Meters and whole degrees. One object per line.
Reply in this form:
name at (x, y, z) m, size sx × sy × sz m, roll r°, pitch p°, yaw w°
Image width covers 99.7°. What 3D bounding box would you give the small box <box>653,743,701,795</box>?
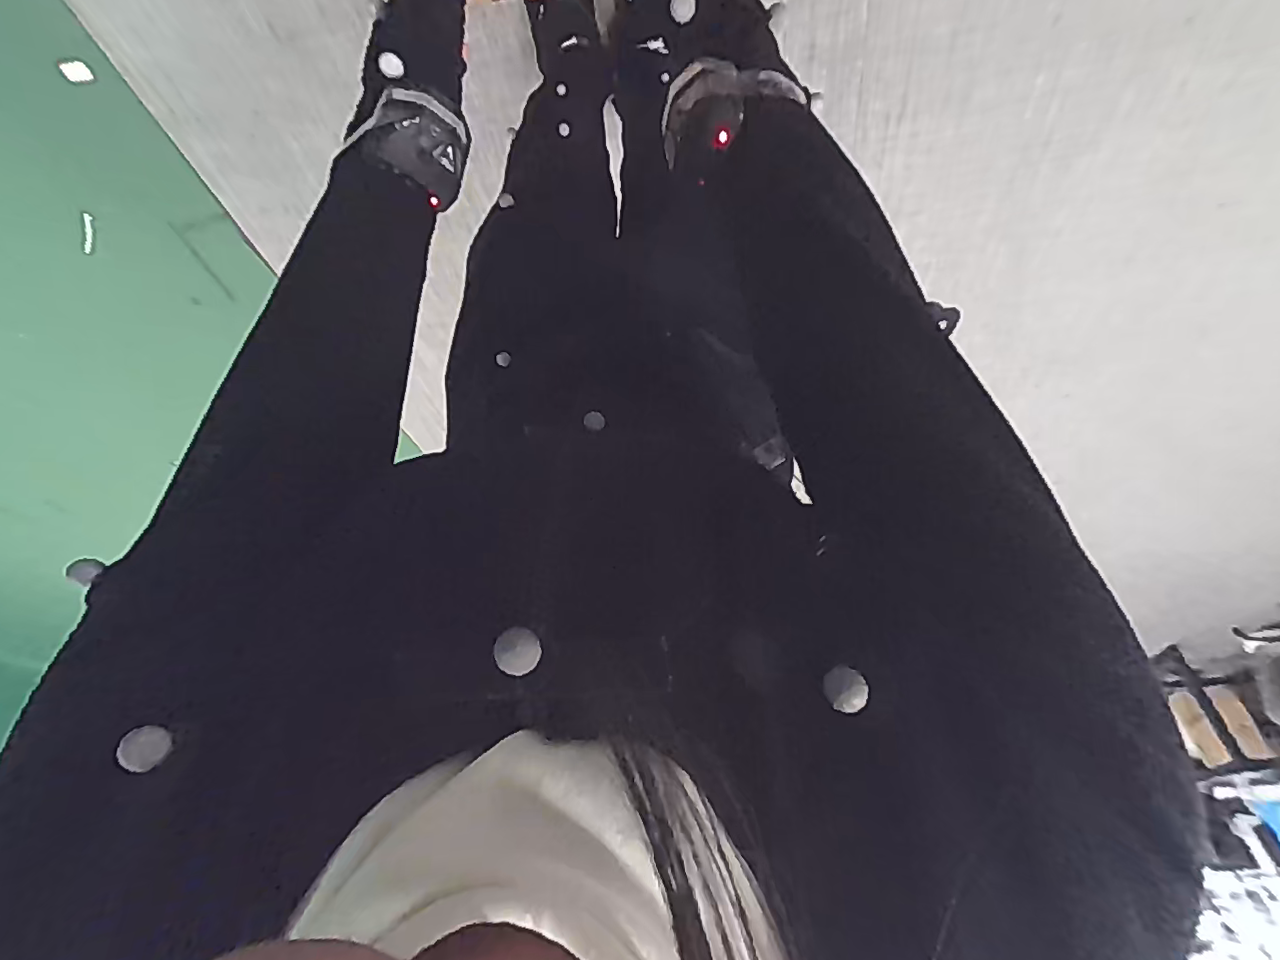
small box at (0.153, 1.212, 2.265) m, size 0.179 × 0.176 × 0.168 m, roll -7°, pitch 142°, yaw 9°
